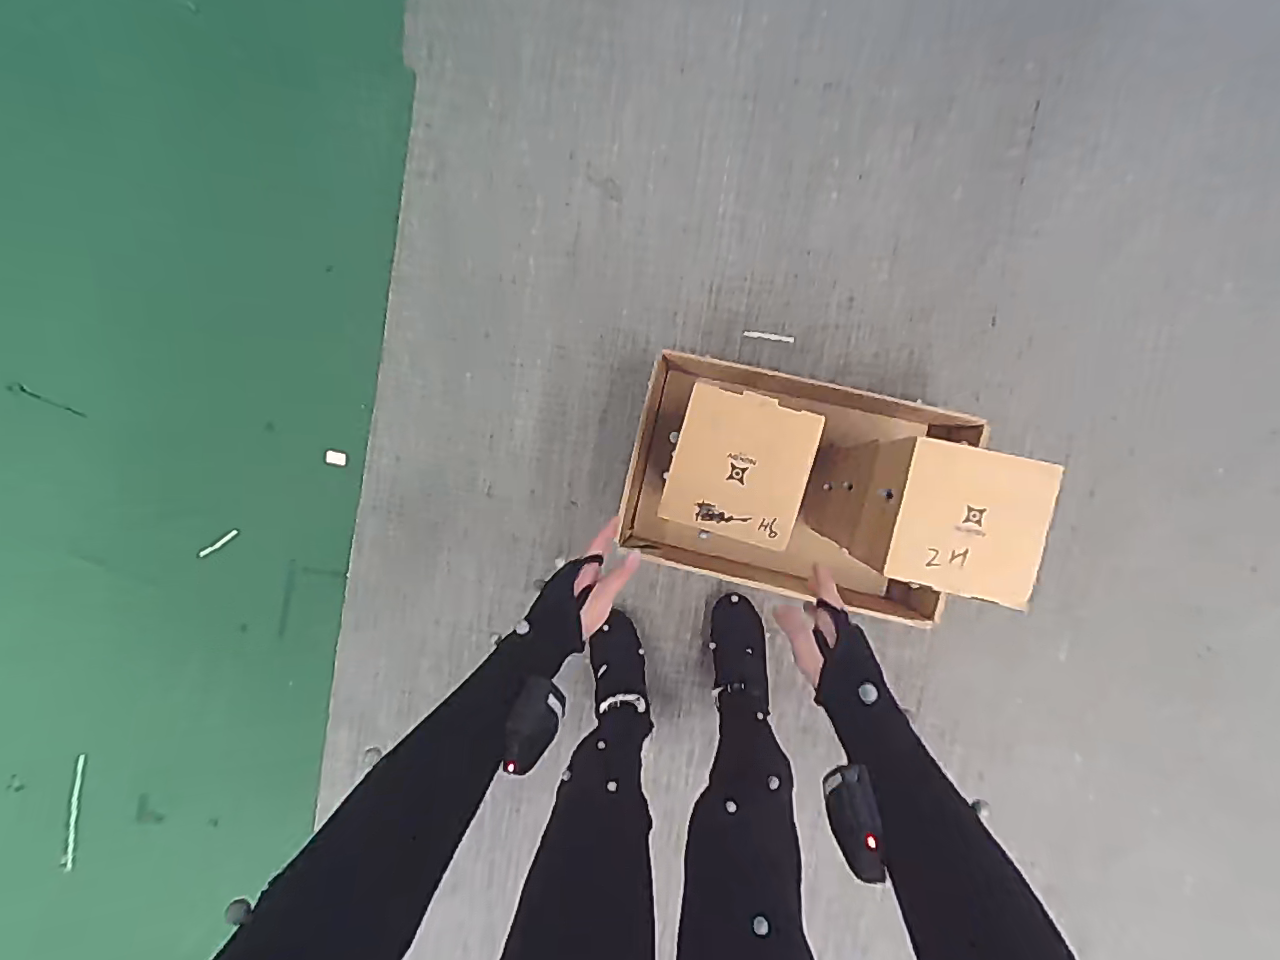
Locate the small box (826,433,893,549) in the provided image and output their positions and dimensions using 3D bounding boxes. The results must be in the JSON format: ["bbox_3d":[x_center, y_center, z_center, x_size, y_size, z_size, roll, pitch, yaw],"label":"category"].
[{"bbox_3d":[0.413,0.035,0.872,0.168,0.176,0.179,16,92,6],"label":"small box"}]

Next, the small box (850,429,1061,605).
[{"bbox_3d":[0.393,0.041,0.708,0.168,0.176,0.179,14,93,7],"label":"small box"}]

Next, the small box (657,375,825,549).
[{"bbox_3d":[0.125,-0.023,0.732,0.168,0.176,0.179,16,92,4],"label":"small box"}]
